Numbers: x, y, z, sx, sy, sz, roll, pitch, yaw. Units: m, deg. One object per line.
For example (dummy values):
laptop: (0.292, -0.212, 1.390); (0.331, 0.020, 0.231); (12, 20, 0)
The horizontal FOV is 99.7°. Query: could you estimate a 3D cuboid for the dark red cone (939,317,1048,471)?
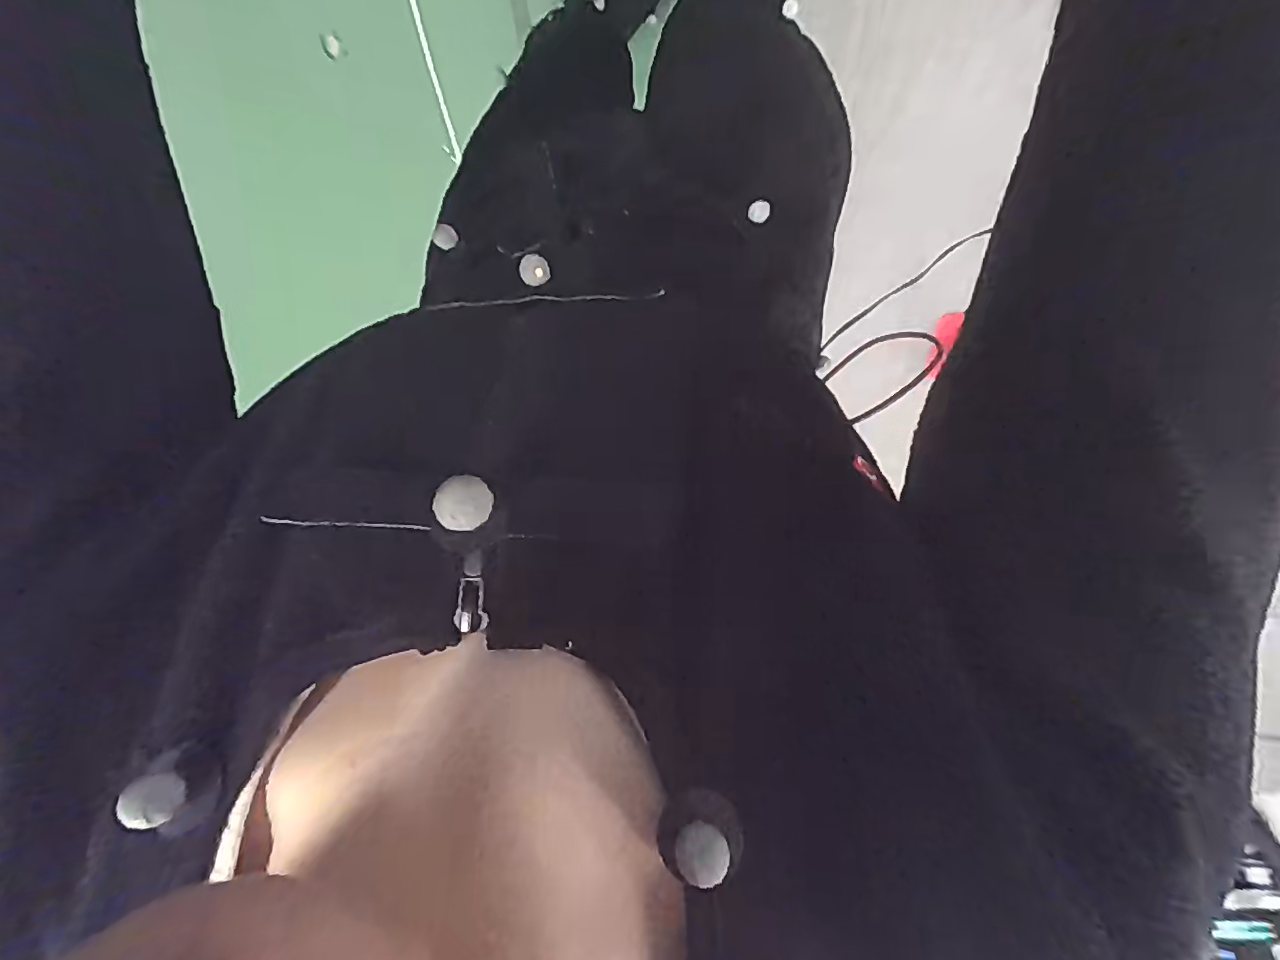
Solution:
dark red cone: (0.823, -0.182, 1.207); (0.201, 0.394, 0.202); (-1, 140, 14)
